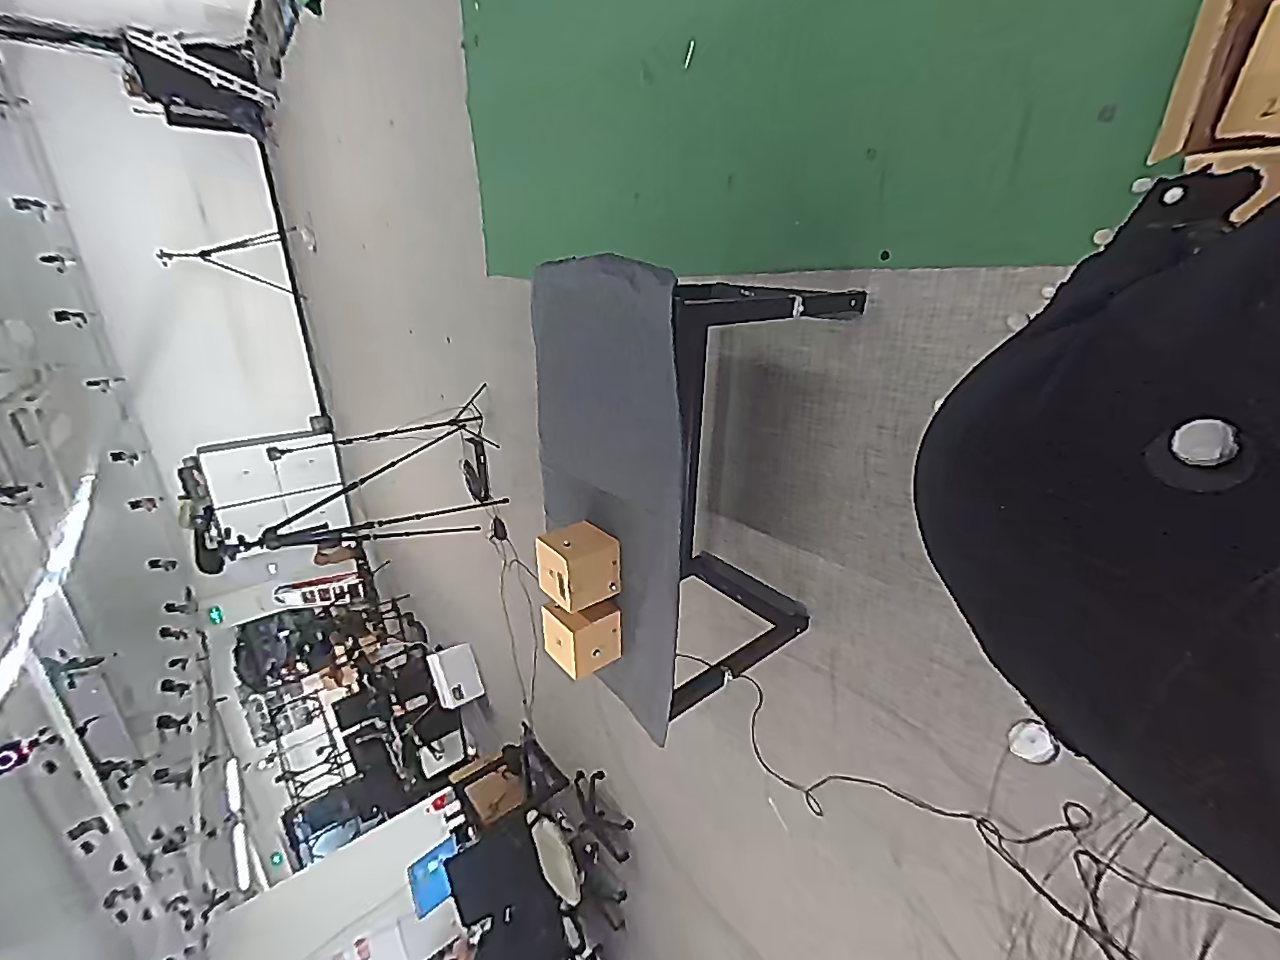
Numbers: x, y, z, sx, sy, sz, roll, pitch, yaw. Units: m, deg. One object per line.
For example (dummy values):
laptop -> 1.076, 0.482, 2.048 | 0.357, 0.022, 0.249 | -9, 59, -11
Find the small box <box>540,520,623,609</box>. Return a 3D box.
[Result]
small box -> -0.160, 0.227, 1.519 | 0.179, 0.176, 0.168 | 24, 122, 48

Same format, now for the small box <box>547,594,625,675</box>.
small box -> -0.155, 0.435, 1.601 | 0.179, 0.176, 0.168 | 24, 122, 48
